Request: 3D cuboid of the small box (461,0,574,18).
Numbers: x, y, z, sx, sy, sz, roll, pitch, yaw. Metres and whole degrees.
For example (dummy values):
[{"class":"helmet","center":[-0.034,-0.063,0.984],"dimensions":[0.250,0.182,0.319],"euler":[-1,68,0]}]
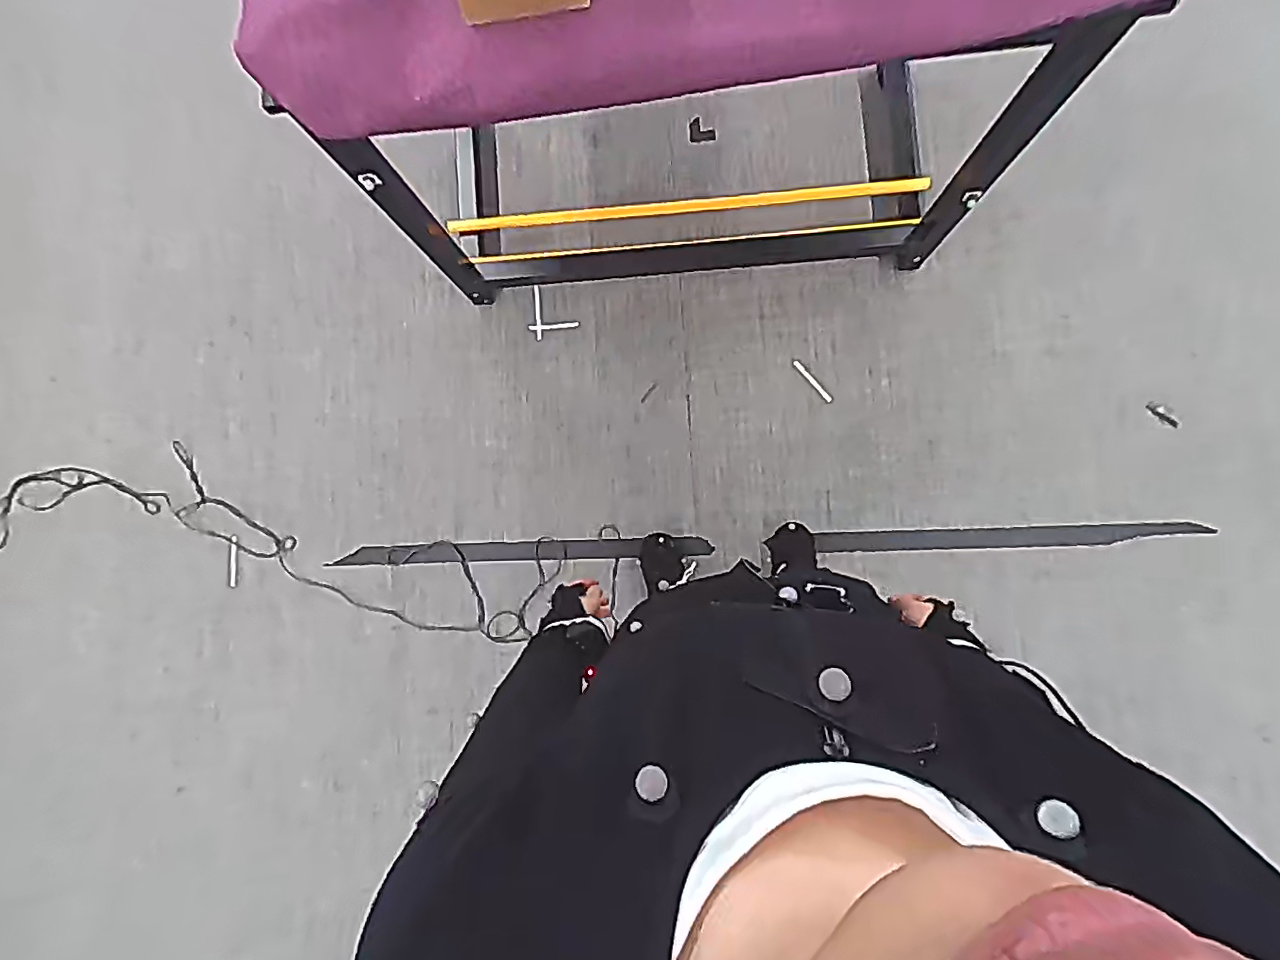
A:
[{"class":"small box","center":[-0.163,-0.722,0.662],"dimensions":[0.179,0.176,0.168],"euler":[-5,85,4]}]
